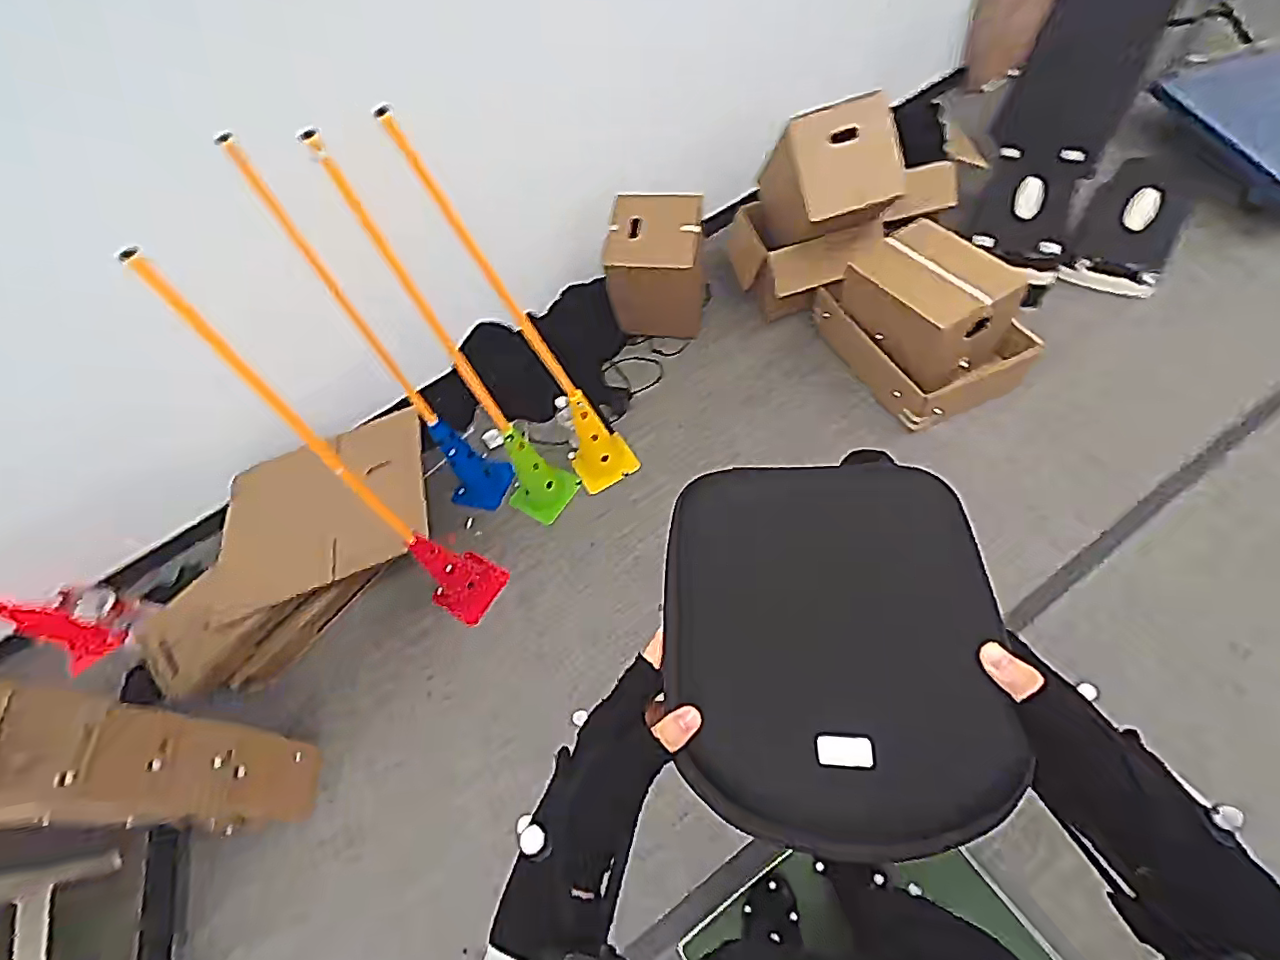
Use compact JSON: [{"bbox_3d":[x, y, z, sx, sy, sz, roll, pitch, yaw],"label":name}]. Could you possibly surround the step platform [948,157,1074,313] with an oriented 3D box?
[{"bbox_3d":[1.375,-0.924,1.998,0.286,0.204,0.684,18,64,23],"label":"step platform"}]
